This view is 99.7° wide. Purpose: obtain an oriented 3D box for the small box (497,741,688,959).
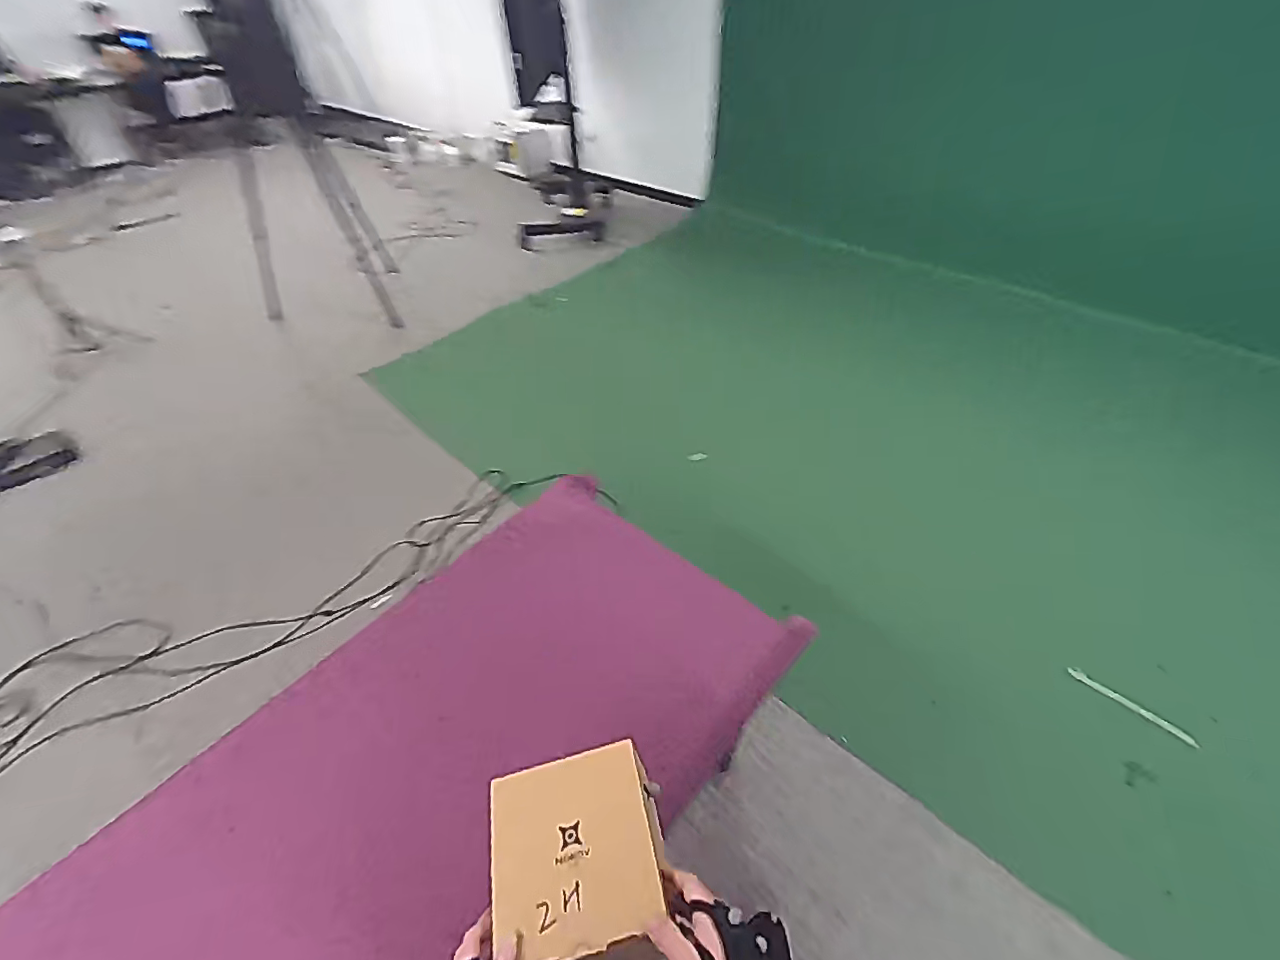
[{"bbox_3d":[-0.051,0.425,0.595,0.168,0.176,0.179,-14,42,-3],"label":"small box"}]
